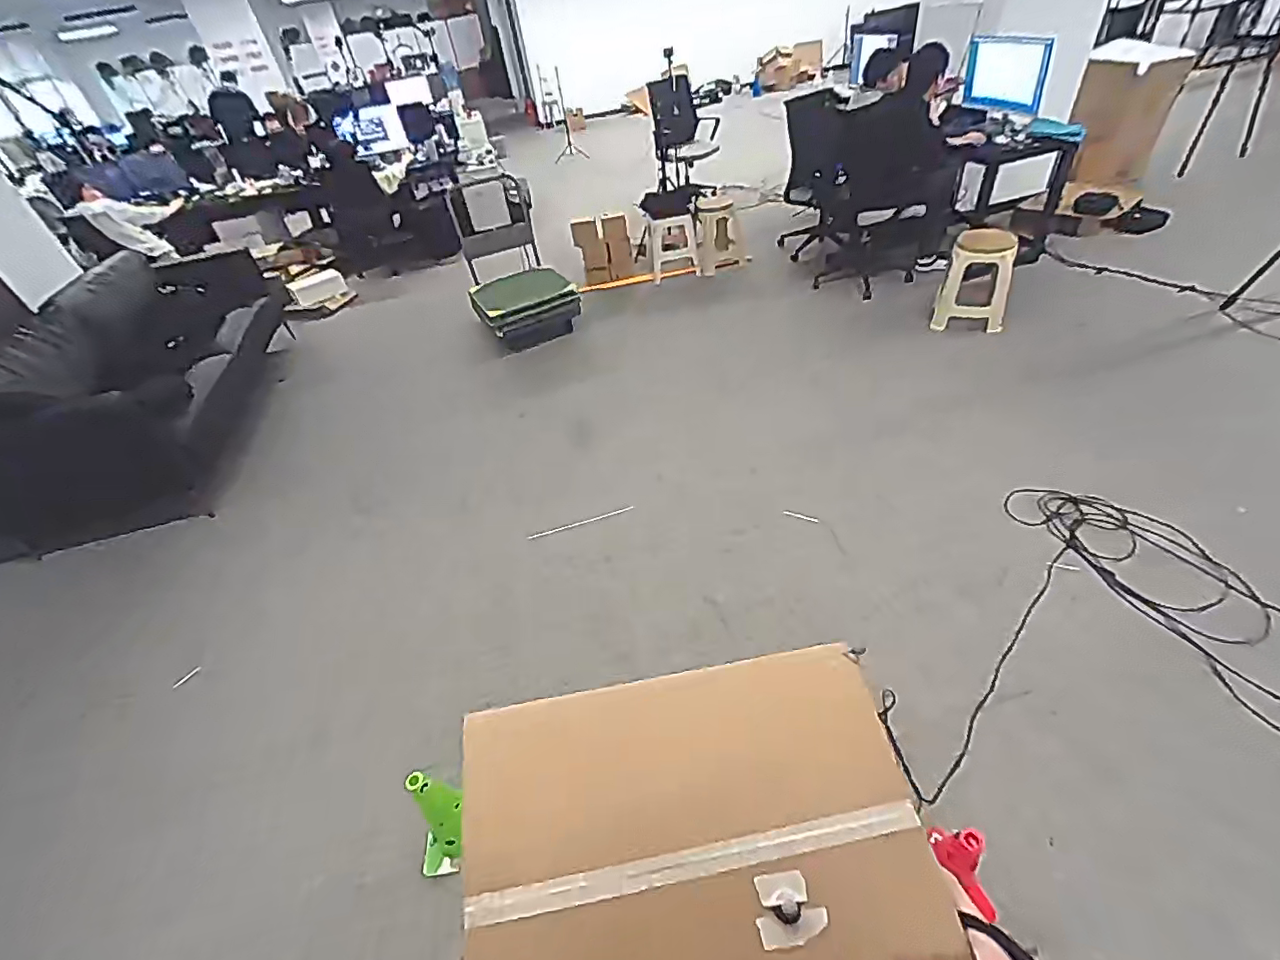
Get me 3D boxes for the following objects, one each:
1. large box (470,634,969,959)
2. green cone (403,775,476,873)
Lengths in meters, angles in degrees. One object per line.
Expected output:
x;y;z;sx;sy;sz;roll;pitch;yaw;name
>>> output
0.053;0.407;0.613;0.408;0.320;0.320;-10;60;-5;large box
-0.514;0.833;1.382;0.200;0.368;0.202;-12;43;-2;green cone
